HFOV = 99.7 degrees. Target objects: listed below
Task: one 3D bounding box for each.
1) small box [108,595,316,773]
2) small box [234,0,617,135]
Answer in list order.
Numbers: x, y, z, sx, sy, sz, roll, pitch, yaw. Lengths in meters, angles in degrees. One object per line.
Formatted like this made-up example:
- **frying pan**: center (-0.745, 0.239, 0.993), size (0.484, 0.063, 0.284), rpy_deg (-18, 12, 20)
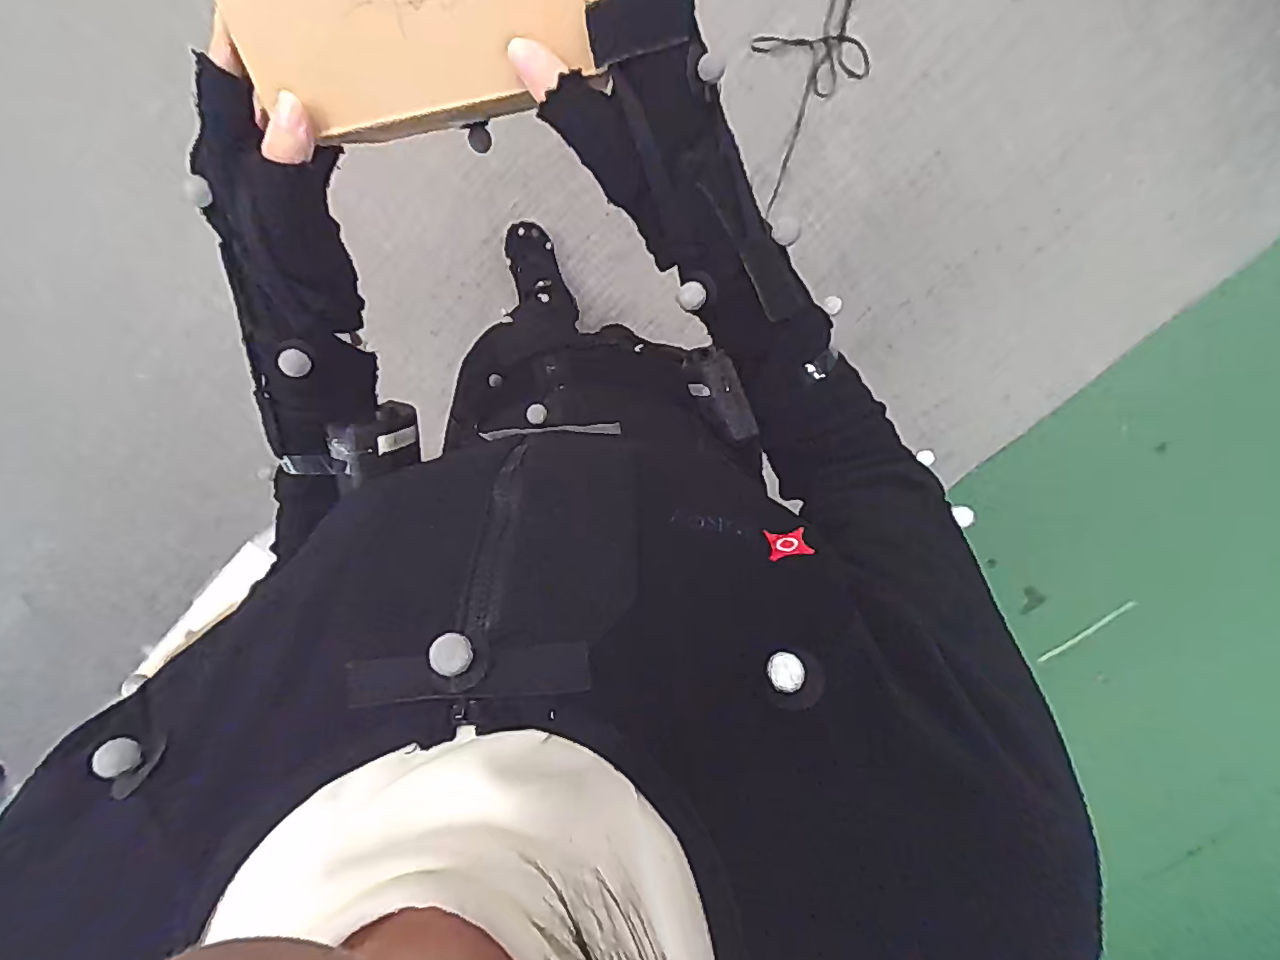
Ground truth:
- **small box**: center (-0.682, 0.326, 0.886), size (0.179, 0.176, 0.168), rpy_deg (-39, 105, 14)
- **small box**: center (-0.109, -0.298, 0.286), size (0.168, 0.176, 0.179), rpy_deg (-9, 122, 2)
